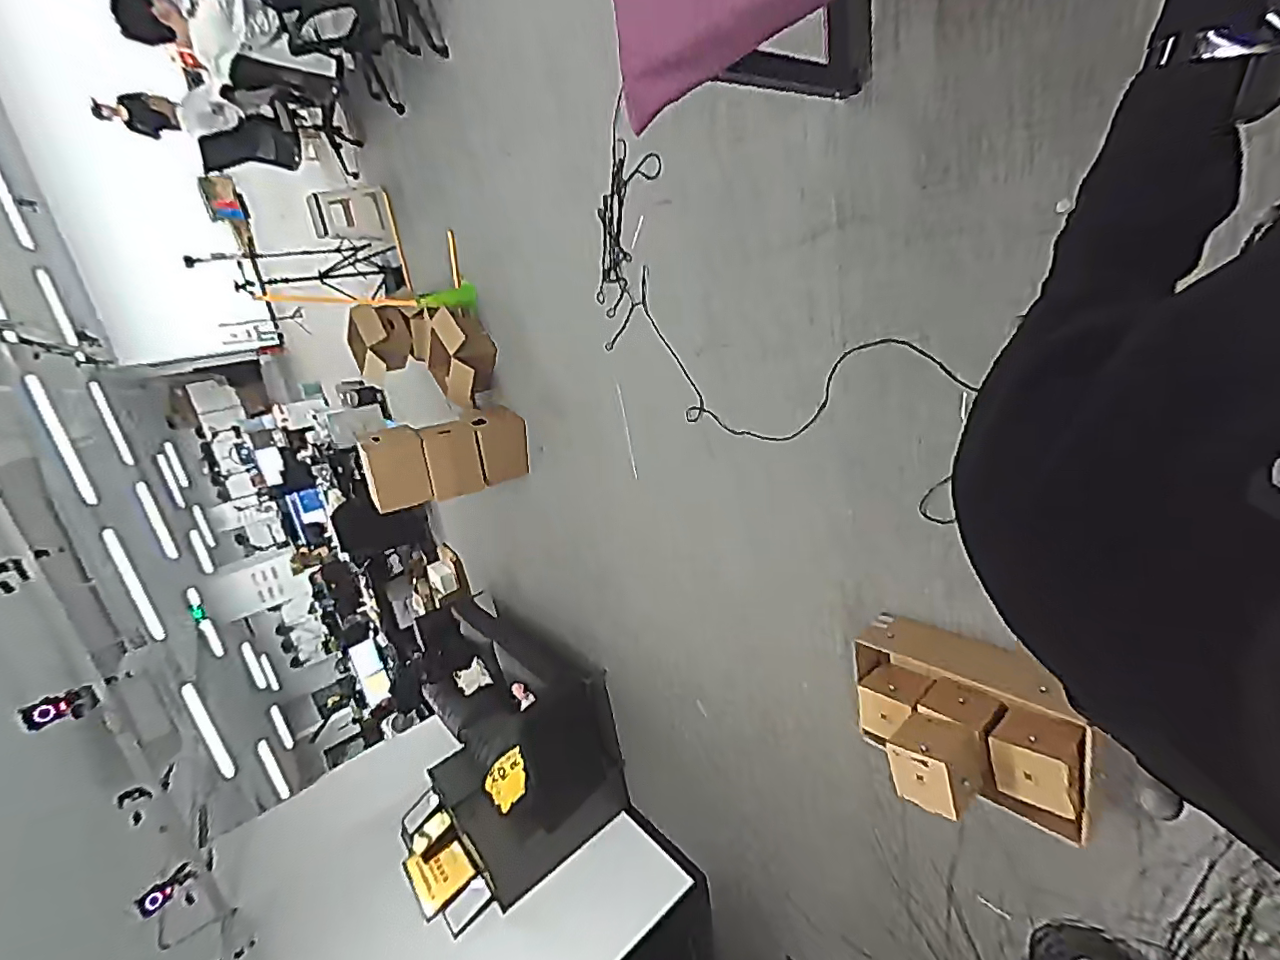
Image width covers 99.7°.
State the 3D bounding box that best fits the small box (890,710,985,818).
[{"bbox_3d":[0.835,0.783,1.510,0.168,0.176,0.179,-4,105,54],"label":"small box"}]
